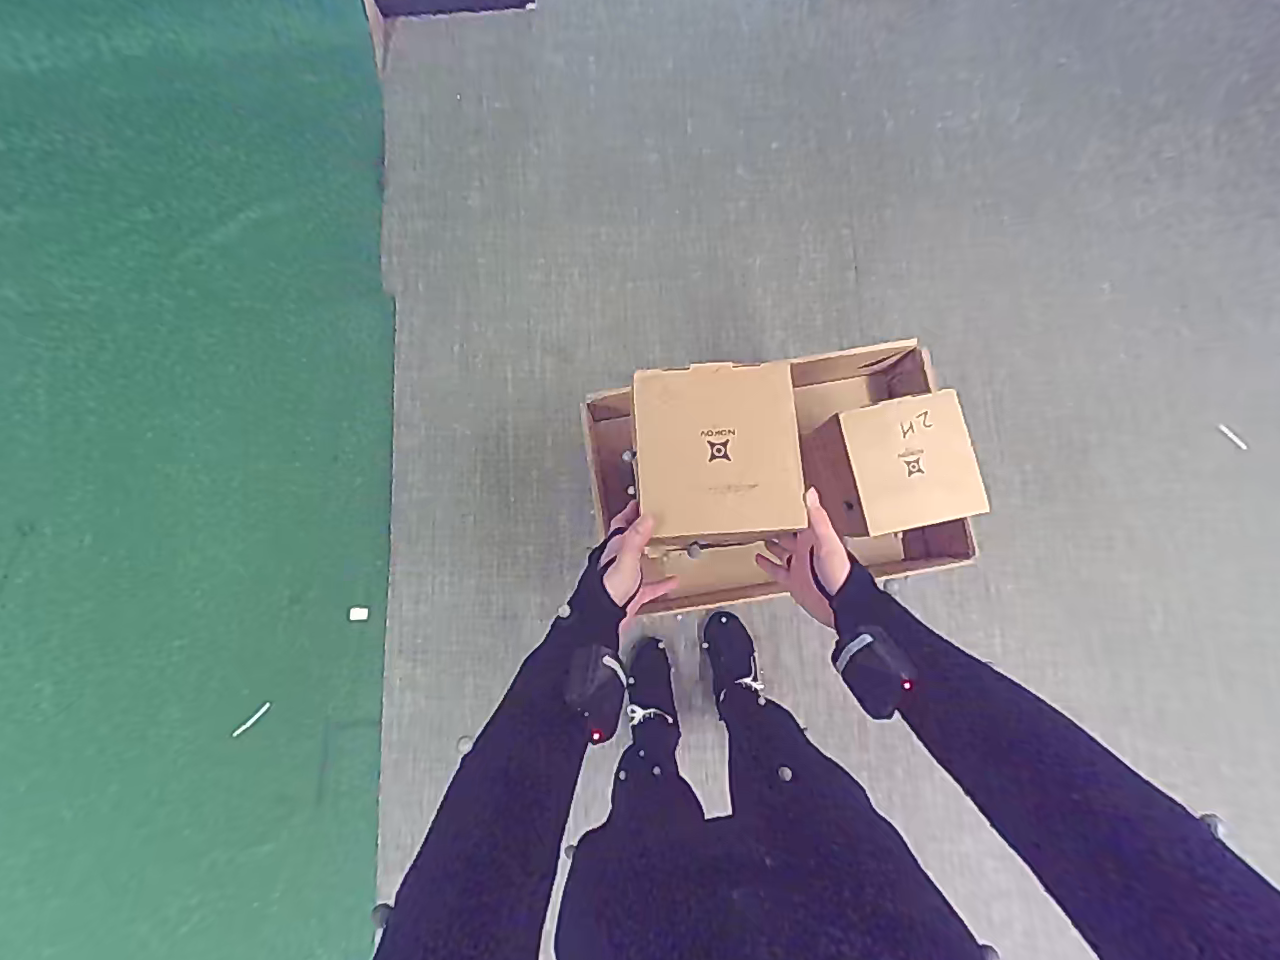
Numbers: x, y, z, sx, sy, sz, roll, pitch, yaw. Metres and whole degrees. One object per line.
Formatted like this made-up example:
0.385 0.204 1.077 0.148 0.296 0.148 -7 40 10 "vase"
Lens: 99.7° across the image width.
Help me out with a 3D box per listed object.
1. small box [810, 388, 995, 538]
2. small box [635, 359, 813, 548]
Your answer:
0.366 -0.014 0.787 0.168 0.176 0.179 -11 82 -1 "small box"
0.080 -0.020 0.610 0.168 0.176 0.179 -3 79 -1 "small box"
